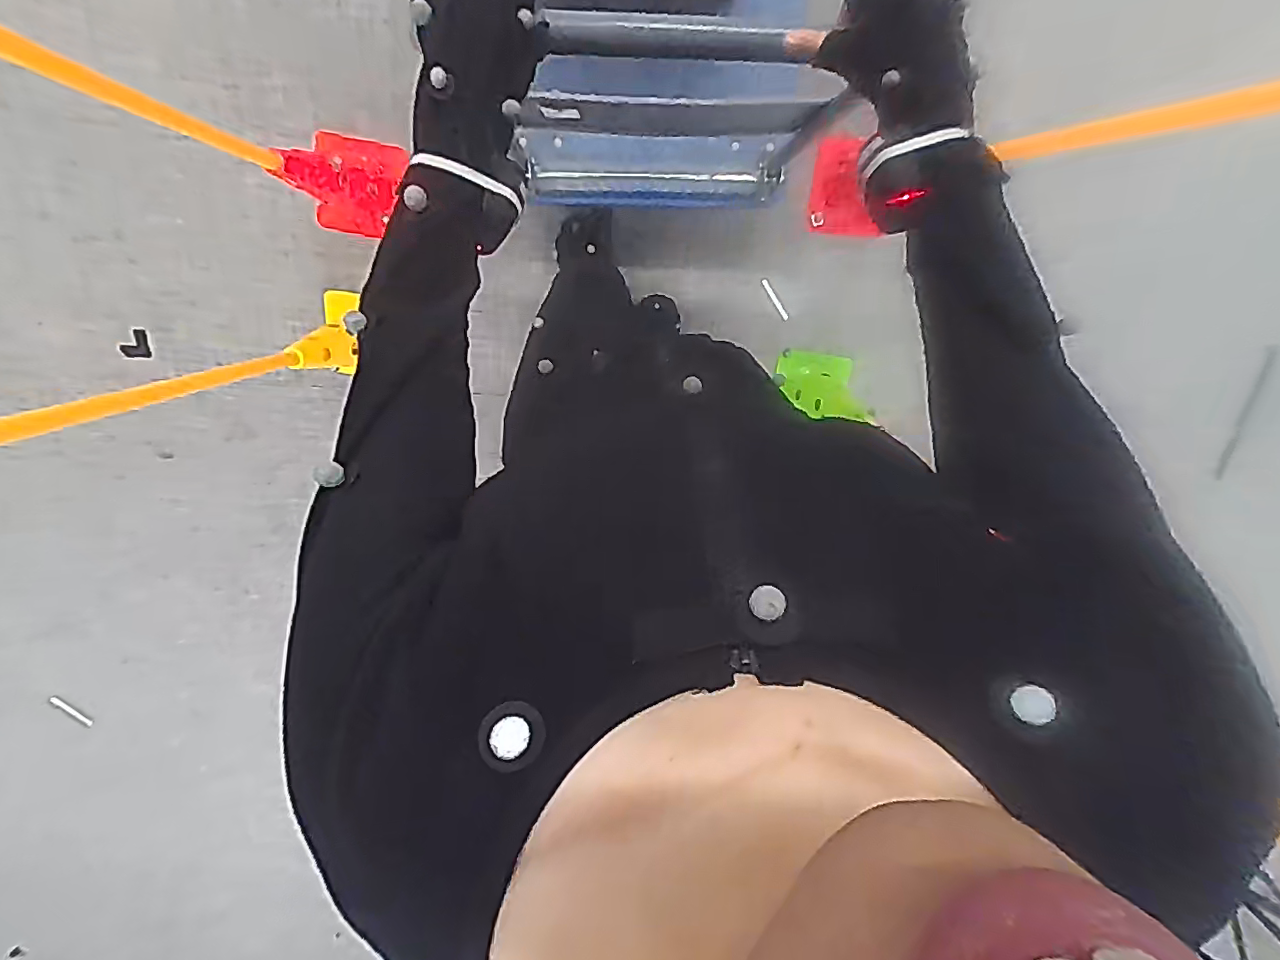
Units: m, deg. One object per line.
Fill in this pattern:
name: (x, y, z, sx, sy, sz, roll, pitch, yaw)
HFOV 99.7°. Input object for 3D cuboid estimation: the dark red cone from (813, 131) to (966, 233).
dark red cone: (0.515, -0.622, 1.090, 0.201, 0.394, 0.202, 2, 112, -5)

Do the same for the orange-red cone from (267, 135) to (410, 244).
orange-red cone: (-0.619, -0.598, 1.070, 0.198, 0.360, 0.199, 9, 109, -7)

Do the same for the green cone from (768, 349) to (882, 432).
green cone: (0.463, -0.178, 1.279, 0.202, 0.368, 0.200, 6, 111, -6)
